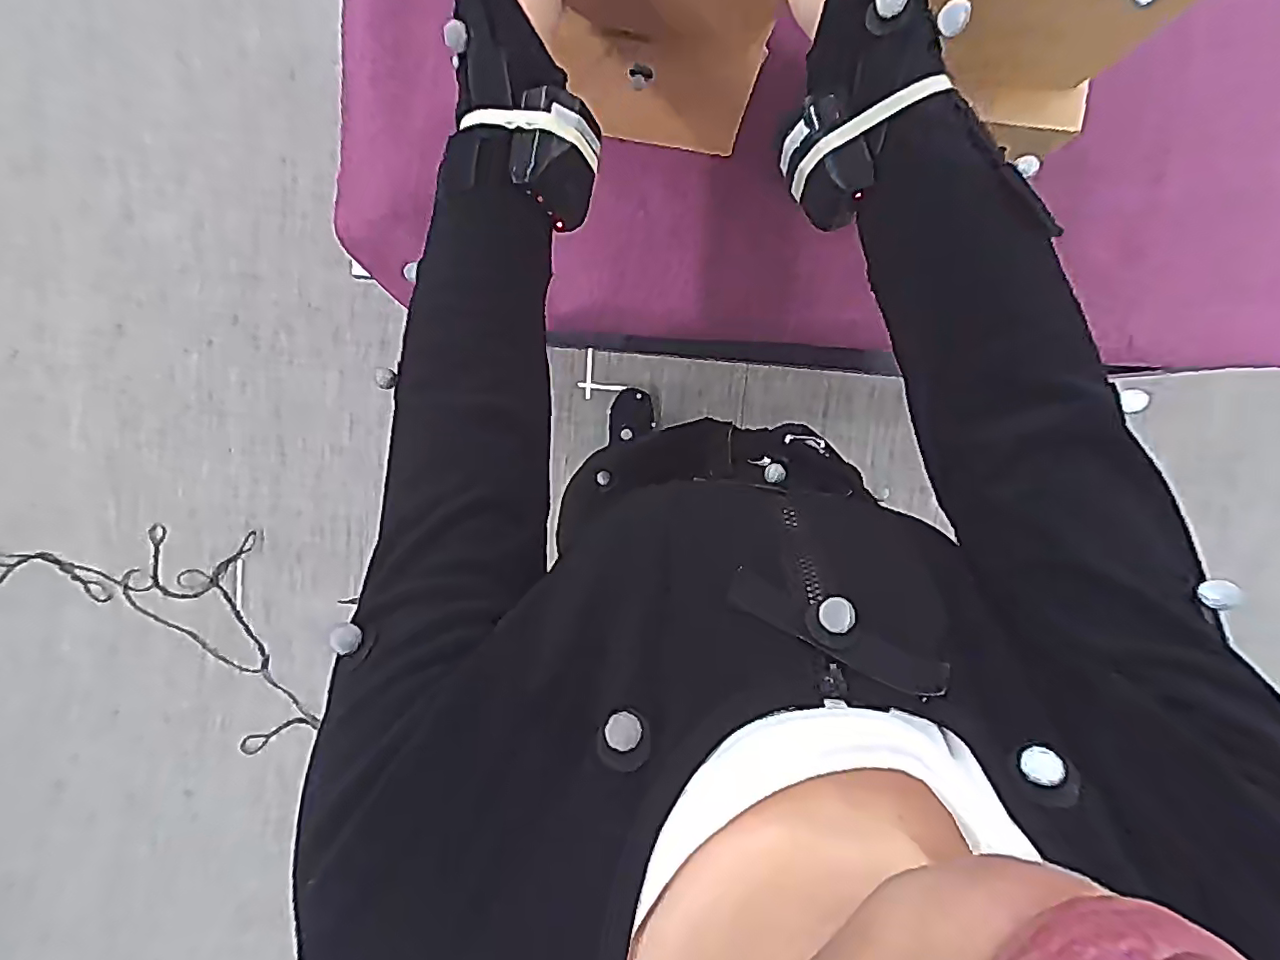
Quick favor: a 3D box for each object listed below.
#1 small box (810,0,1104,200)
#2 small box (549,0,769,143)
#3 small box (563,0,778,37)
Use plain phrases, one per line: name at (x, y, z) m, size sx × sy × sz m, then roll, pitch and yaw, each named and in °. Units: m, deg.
small box at (0.279, -0.382, 0.504) m, size 0.179 × 0.176 × 0.168 m, roll 5°, pitch 95°, yaw 0°
small box at (0.026, -0.444, 0.498) m, size 0.179 × 0.176 × 0.168 m, roll 9°, pitch 97°, yaw -2°
small box at (0.028, -0.409, 0.326) m, size 0.179 × 0.176 × 0.168 m, roll 10°, pitch 108°, yaw -1°
